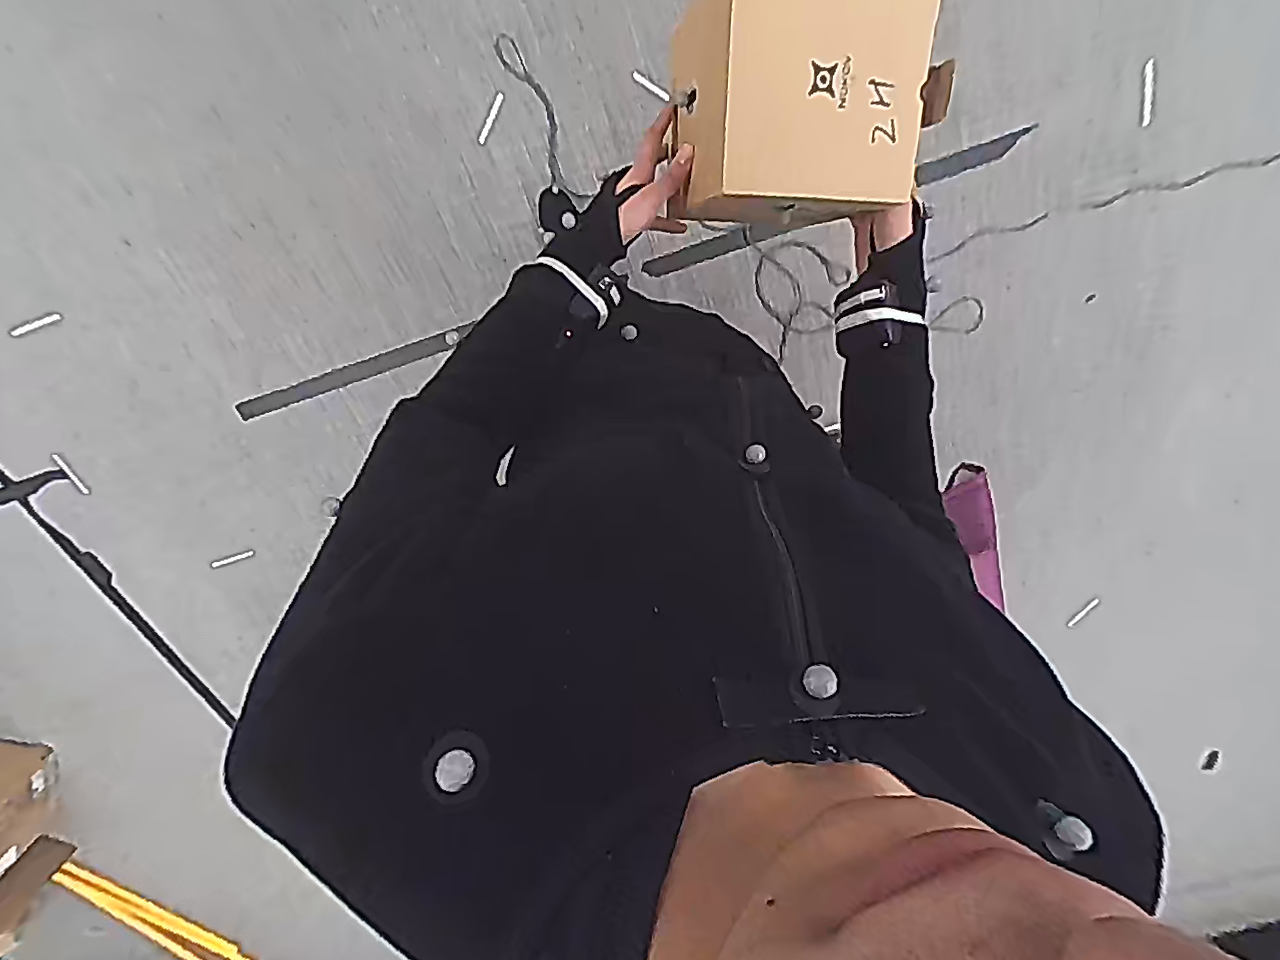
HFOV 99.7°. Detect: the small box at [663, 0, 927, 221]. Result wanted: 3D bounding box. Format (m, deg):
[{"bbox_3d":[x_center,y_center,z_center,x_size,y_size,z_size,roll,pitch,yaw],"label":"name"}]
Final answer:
[{"bbox_3d":[0.123,-0.341,0.499,0.179,0.176,0.168,-4,109,-13],"label":"small box"}]
